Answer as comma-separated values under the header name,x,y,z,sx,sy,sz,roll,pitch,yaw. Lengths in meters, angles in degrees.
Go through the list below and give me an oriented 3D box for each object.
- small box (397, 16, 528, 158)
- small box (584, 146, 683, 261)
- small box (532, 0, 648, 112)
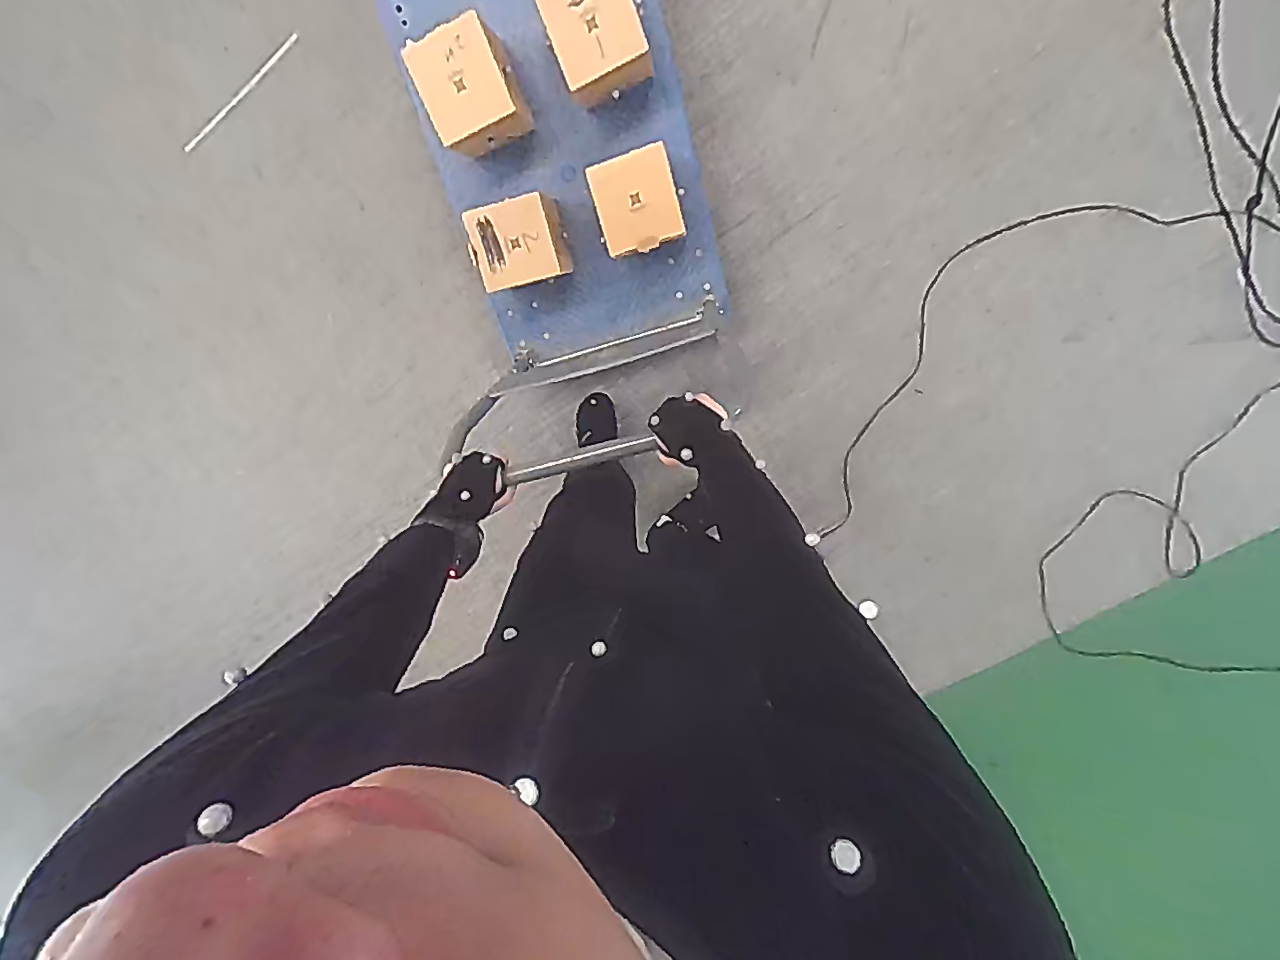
name,x,y,z,sx,sy,sz,roll,pitch,yaw
small box,-0.350,-0.784,1.106,0.168,0.176,0.179,-19,111,10
small box,-0.010,-0.589,1.172,0.168,0.176,0.179,-15,112,10
small box,-0.091,-0.862,1.057,0.168,0.176,0.179,-19,112,12
